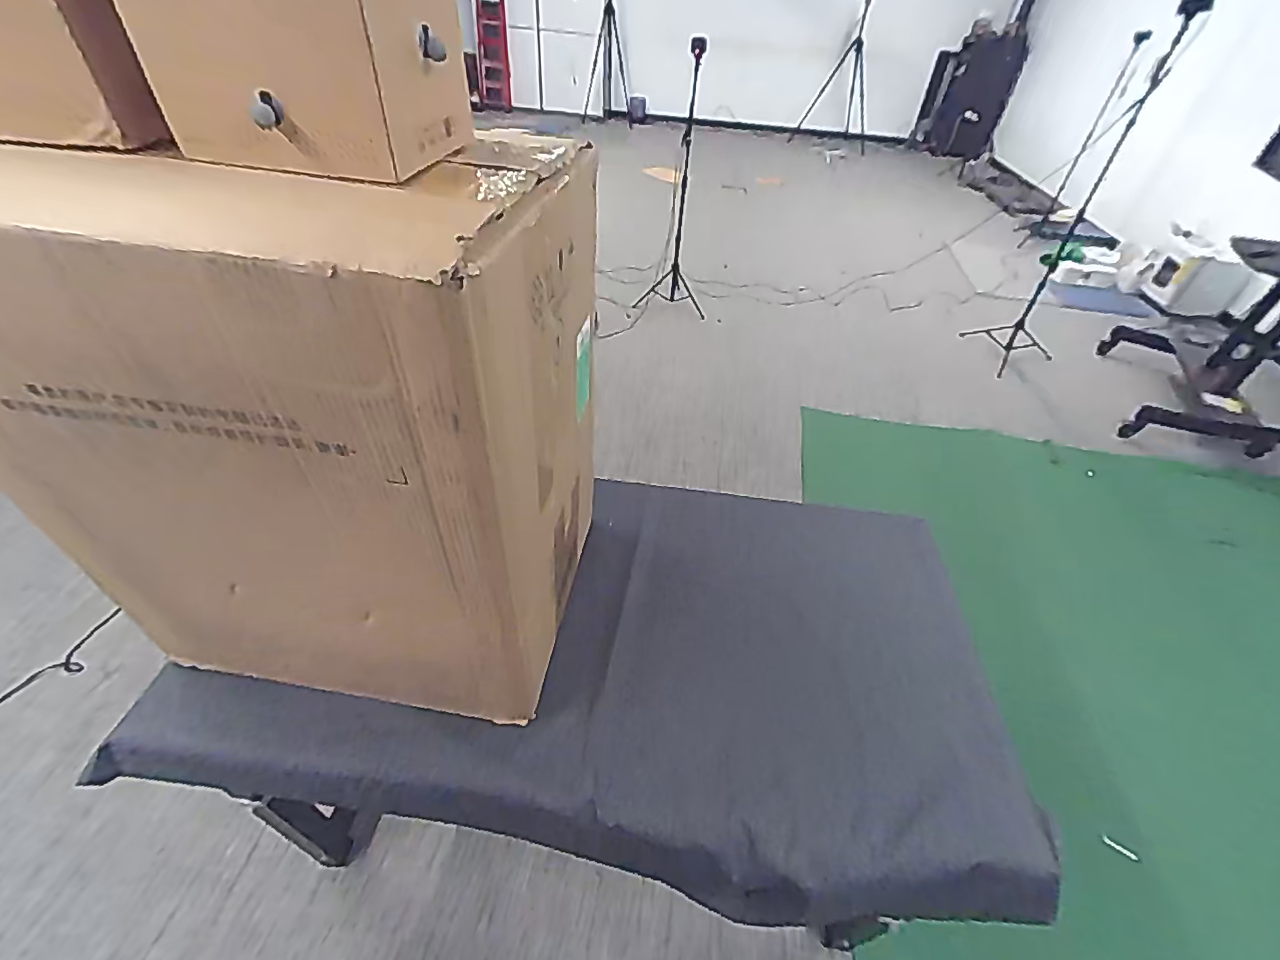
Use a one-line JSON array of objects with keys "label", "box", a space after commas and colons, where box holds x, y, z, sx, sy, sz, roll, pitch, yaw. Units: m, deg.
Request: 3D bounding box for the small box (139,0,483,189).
[{"label": "small box", "box": [-0.239, -0.344, 0.427, 0.179, 0.176, 0.168, 7, 42, 3]}]
